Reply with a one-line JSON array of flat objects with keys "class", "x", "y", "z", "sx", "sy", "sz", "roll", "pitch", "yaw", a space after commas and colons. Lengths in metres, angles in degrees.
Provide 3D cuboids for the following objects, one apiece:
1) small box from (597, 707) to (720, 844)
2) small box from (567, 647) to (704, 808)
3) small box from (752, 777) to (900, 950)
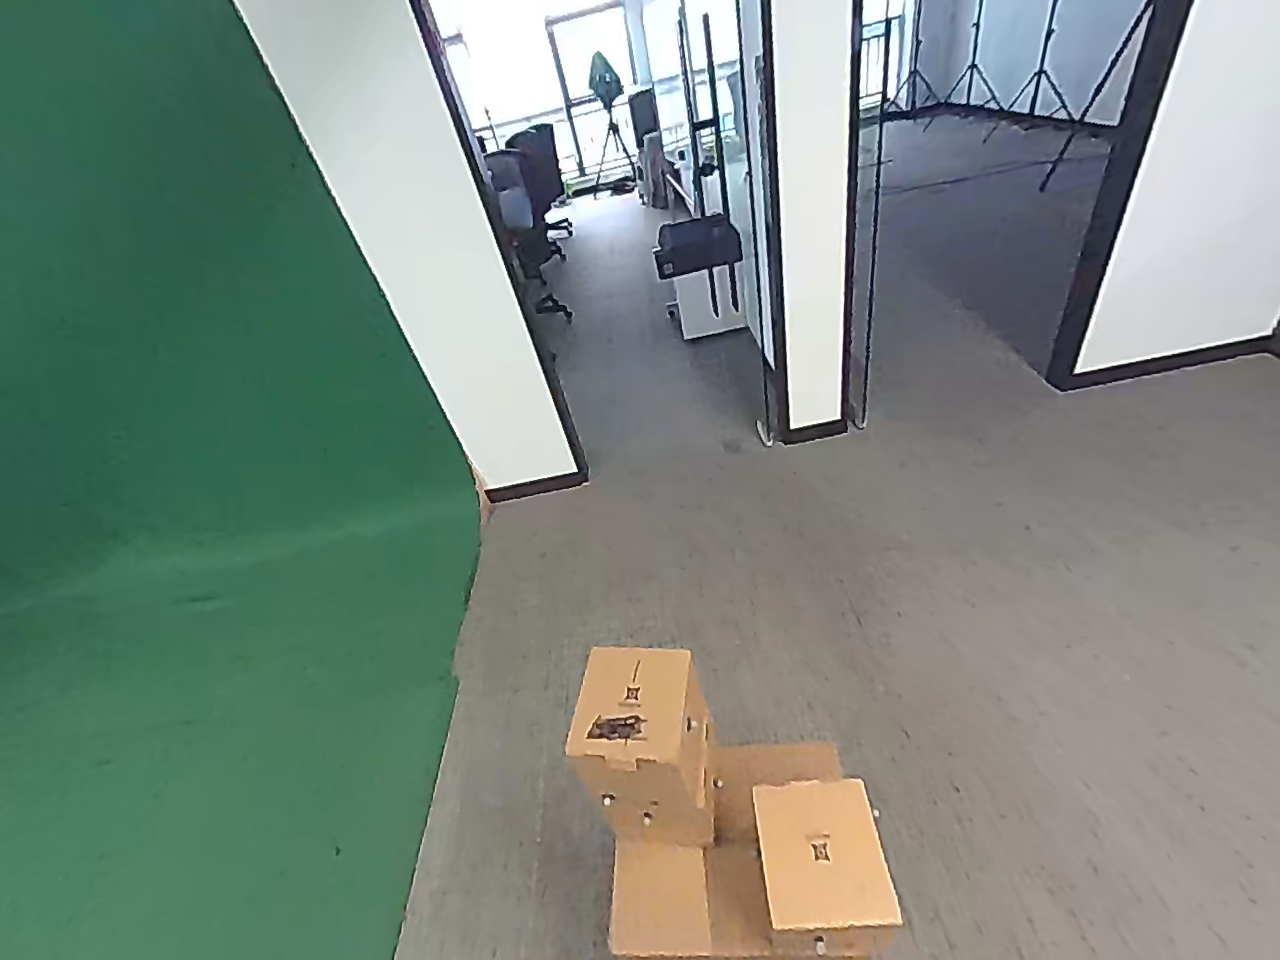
[{"class": "small box", "x": 0.042, "y": 0.516, "z": 0.951, "sx": 0.179, "sy": 0.176, "sz": 0.168, "roll": -3, "pitch": 39, "yaw": 13}, {"class": "small box", "x": 0.005, "y": 0.388, "z": 0.853, "sx": 0.168, "sy": 0.176, "sz": 0.179, "roll": -3, "pitch": 38, "yaw": 15}, {"class": "small box", "x": 0.268, "y": 0.572, "z": 0.803, "sx": 0.168, "sy": 0.176, "sz": 0.179, "roll": -9, "pitch": 38, "yaw": 7}]
